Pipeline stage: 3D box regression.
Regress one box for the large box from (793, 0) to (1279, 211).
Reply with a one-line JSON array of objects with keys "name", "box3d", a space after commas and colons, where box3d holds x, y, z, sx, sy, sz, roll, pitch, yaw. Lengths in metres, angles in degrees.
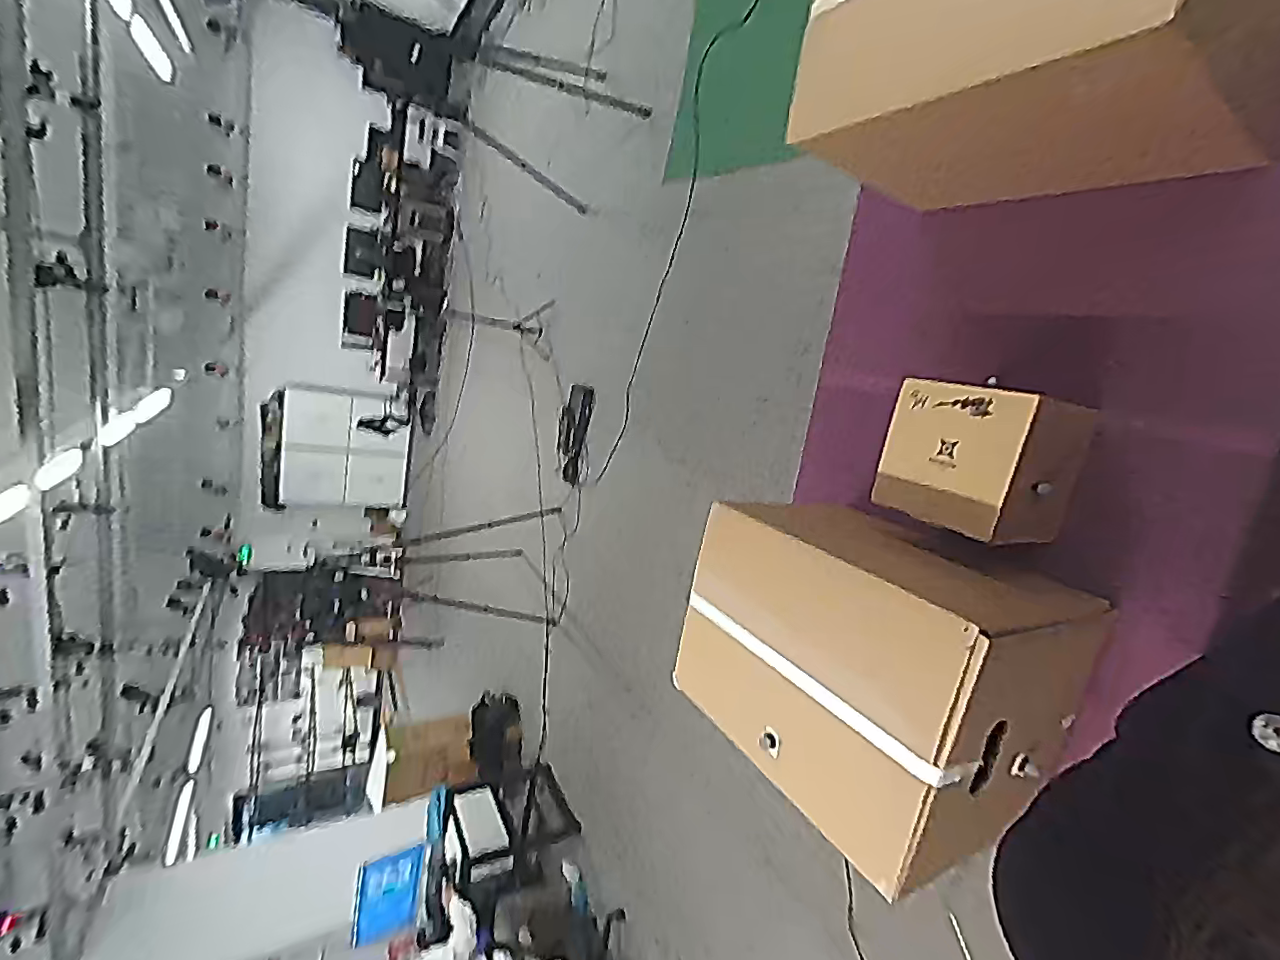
[{"name": "large box", "box3d": [0.458, -0.541, 0.616, 0.408, 0.320, 0.320, 28, 111, 54]}]
